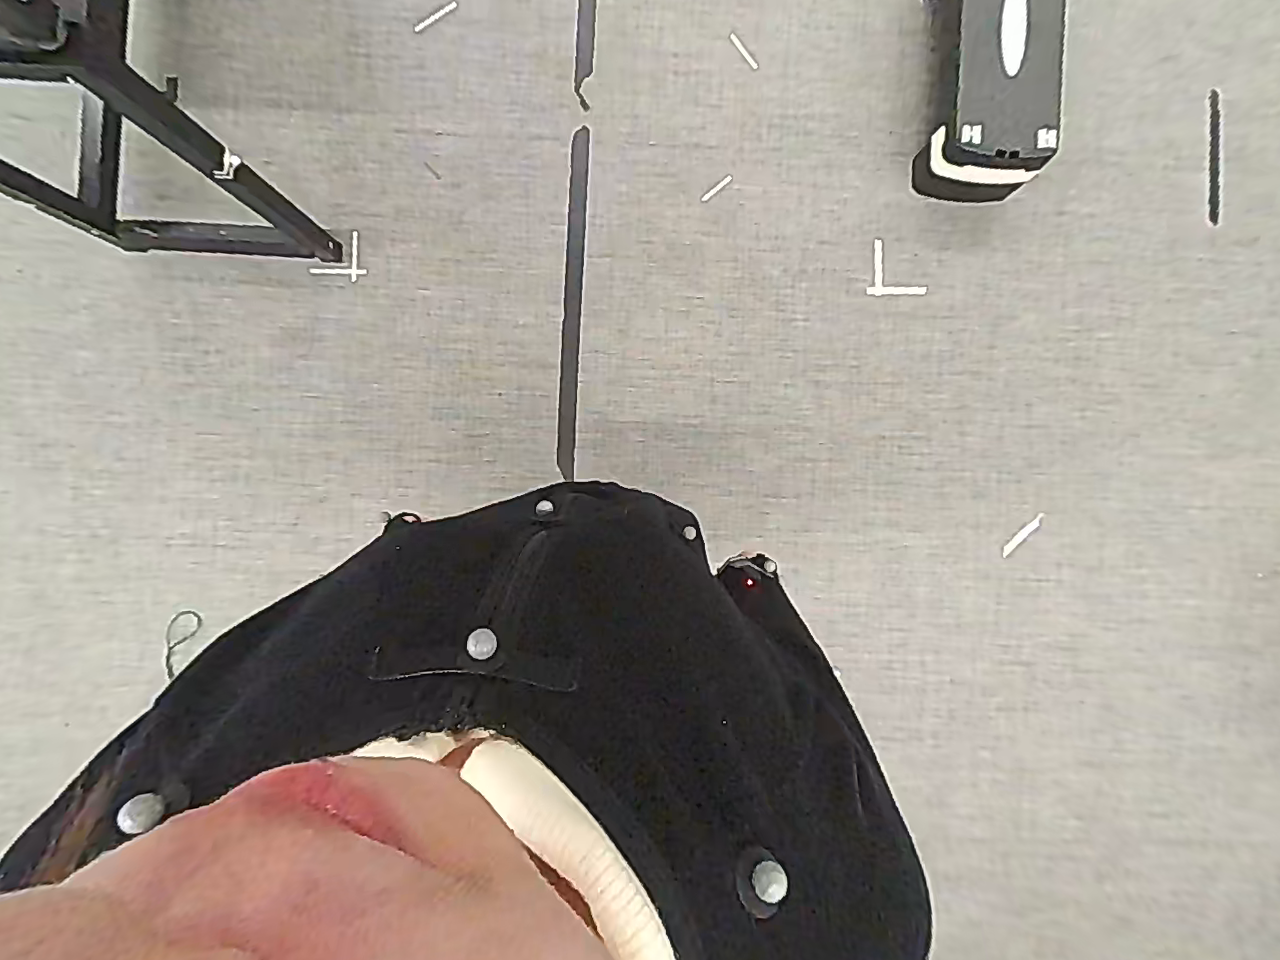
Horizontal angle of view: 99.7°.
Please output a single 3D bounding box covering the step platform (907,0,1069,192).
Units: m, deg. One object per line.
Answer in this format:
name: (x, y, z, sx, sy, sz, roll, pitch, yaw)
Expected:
step platform: (0.935, -1.162, 1.440, 0.286, 0.204, 0.684, 8, 89, -2)
